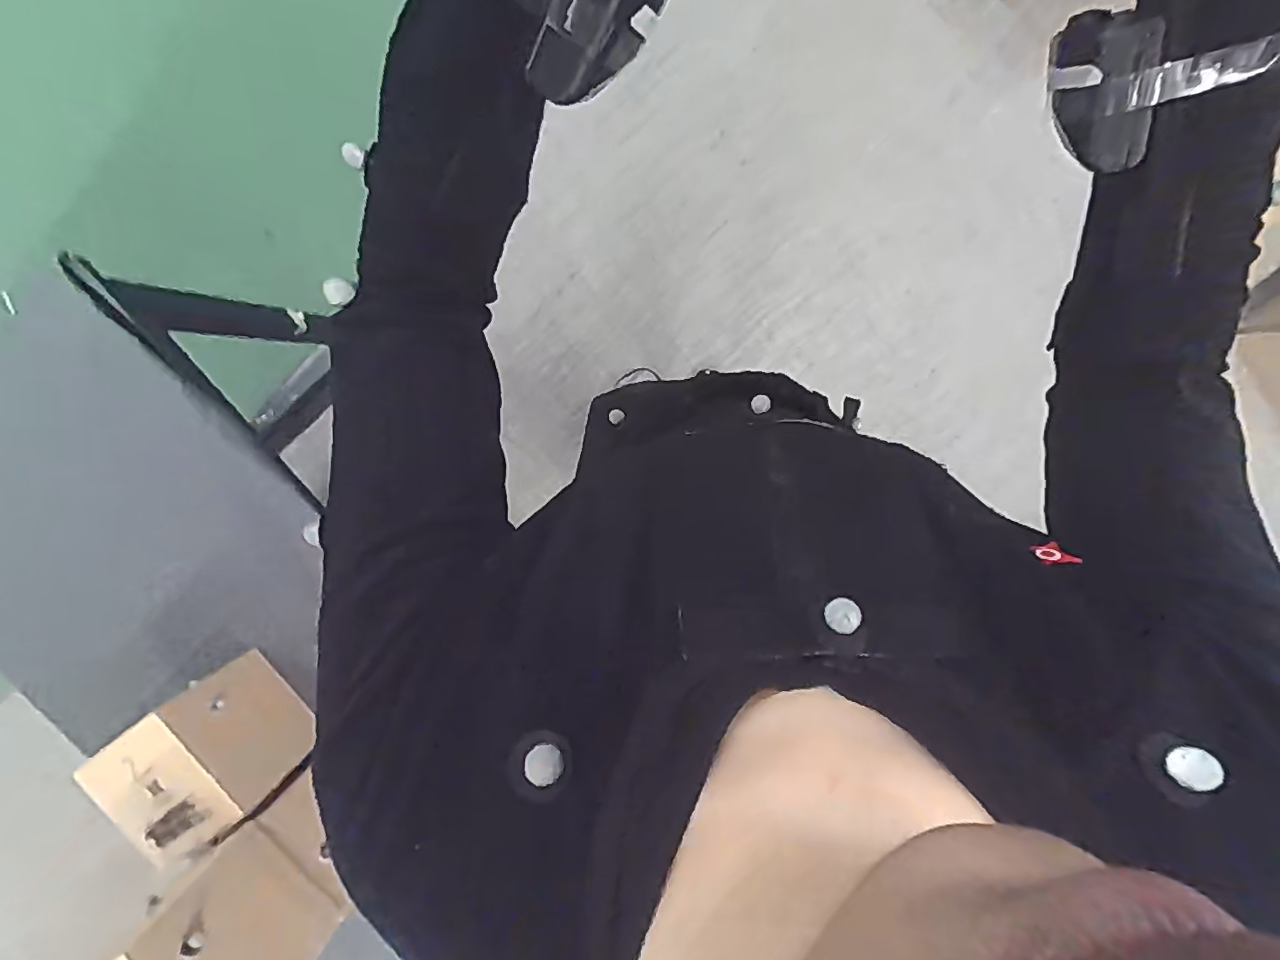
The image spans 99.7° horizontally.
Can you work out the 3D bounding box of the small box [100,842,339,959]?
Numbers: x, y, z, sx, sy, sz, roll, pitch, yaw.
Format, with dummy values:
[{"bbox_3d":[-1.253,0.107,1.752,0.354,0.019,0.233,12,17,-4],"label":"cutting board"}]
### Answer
[{"bbox_3d":[-0.498,0.559,0.615,0.168,0.176,0.179,-38,95,9],"label":"small box"}]
